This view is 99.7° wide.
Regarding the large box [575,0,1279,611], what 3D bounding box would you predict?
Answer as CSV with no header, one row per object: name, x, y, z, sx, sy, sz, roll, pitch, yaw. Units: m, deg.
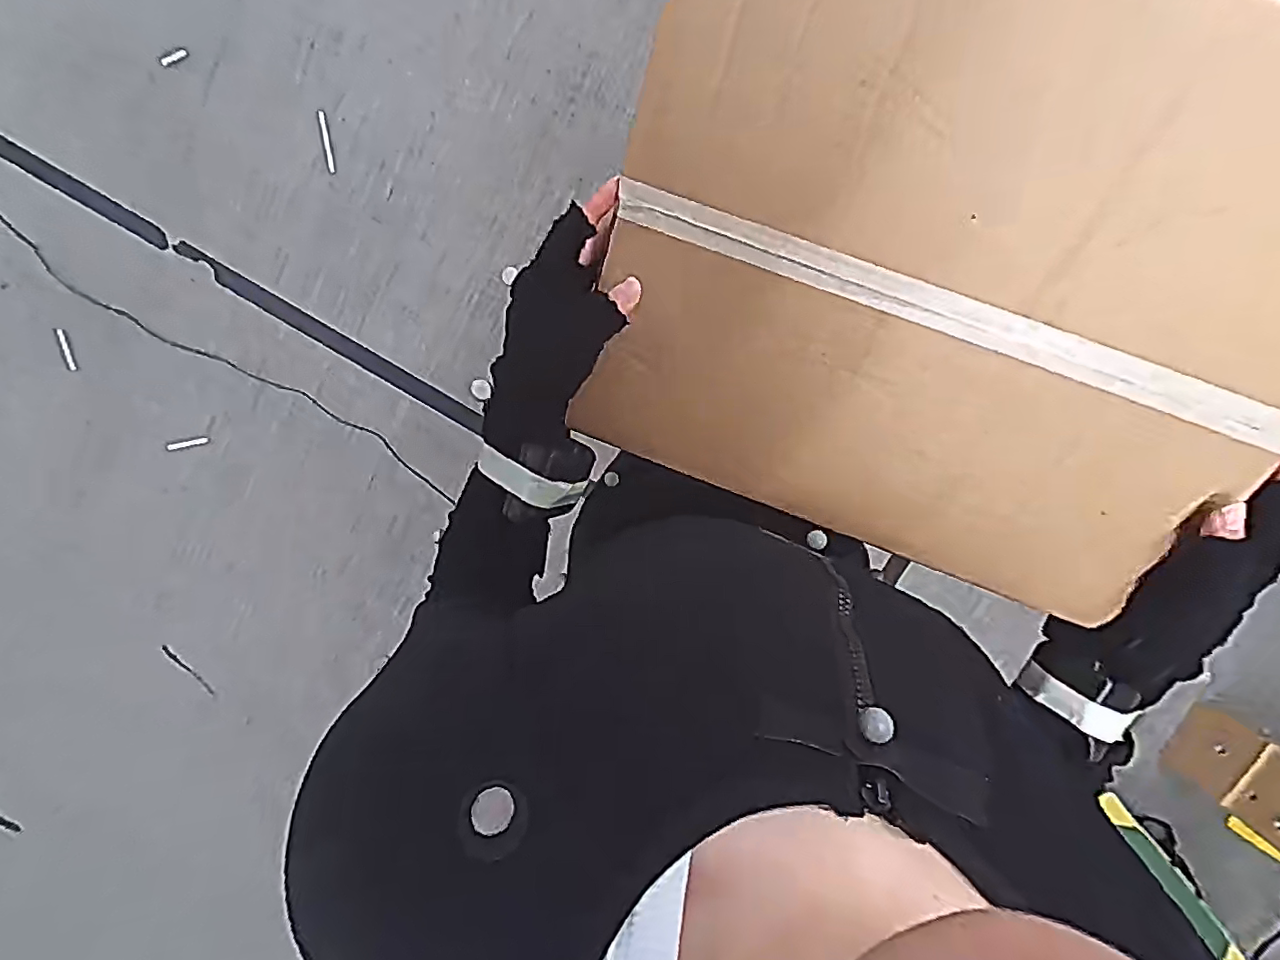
large box,0.206,-0.164,0.448,0.408,0.320,0.320,21,121,2
